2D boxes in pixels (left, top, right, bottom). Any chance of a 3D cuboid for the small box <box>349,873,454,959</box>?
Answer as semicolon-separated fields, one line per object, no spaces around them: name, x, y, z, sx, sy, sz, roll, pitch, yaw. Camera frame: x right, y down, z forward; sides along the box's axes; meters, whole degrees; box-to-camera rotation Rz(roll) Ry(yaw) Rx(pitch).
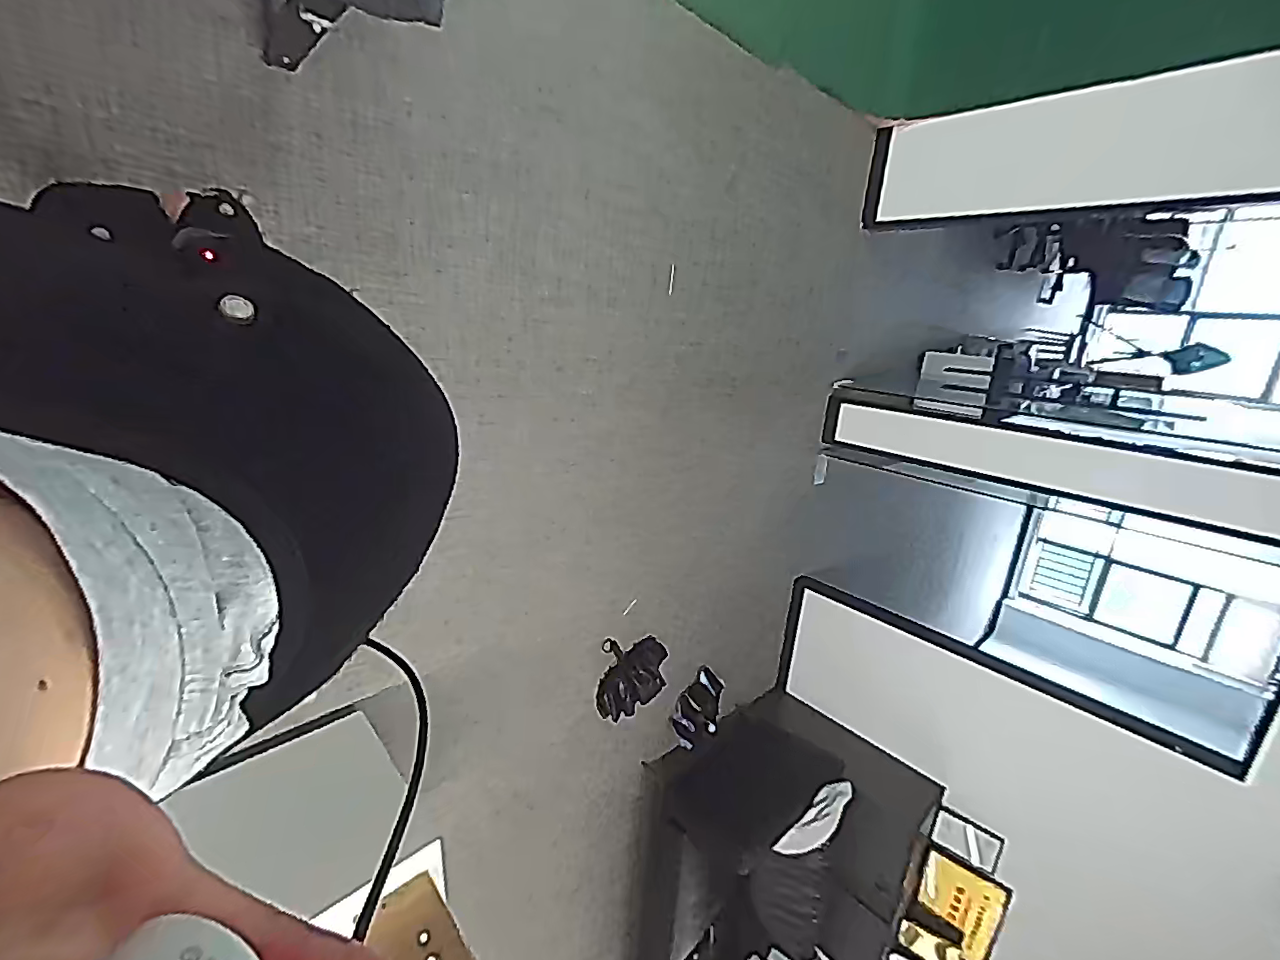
small box;-0.518;1.026;1.183;0.168;0.176;0.179;-14;116;-41

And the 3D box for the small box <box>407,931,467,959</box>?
small box;-0.409;1.064;1.069;0.168;0.176;0.179;-17;116;-41
